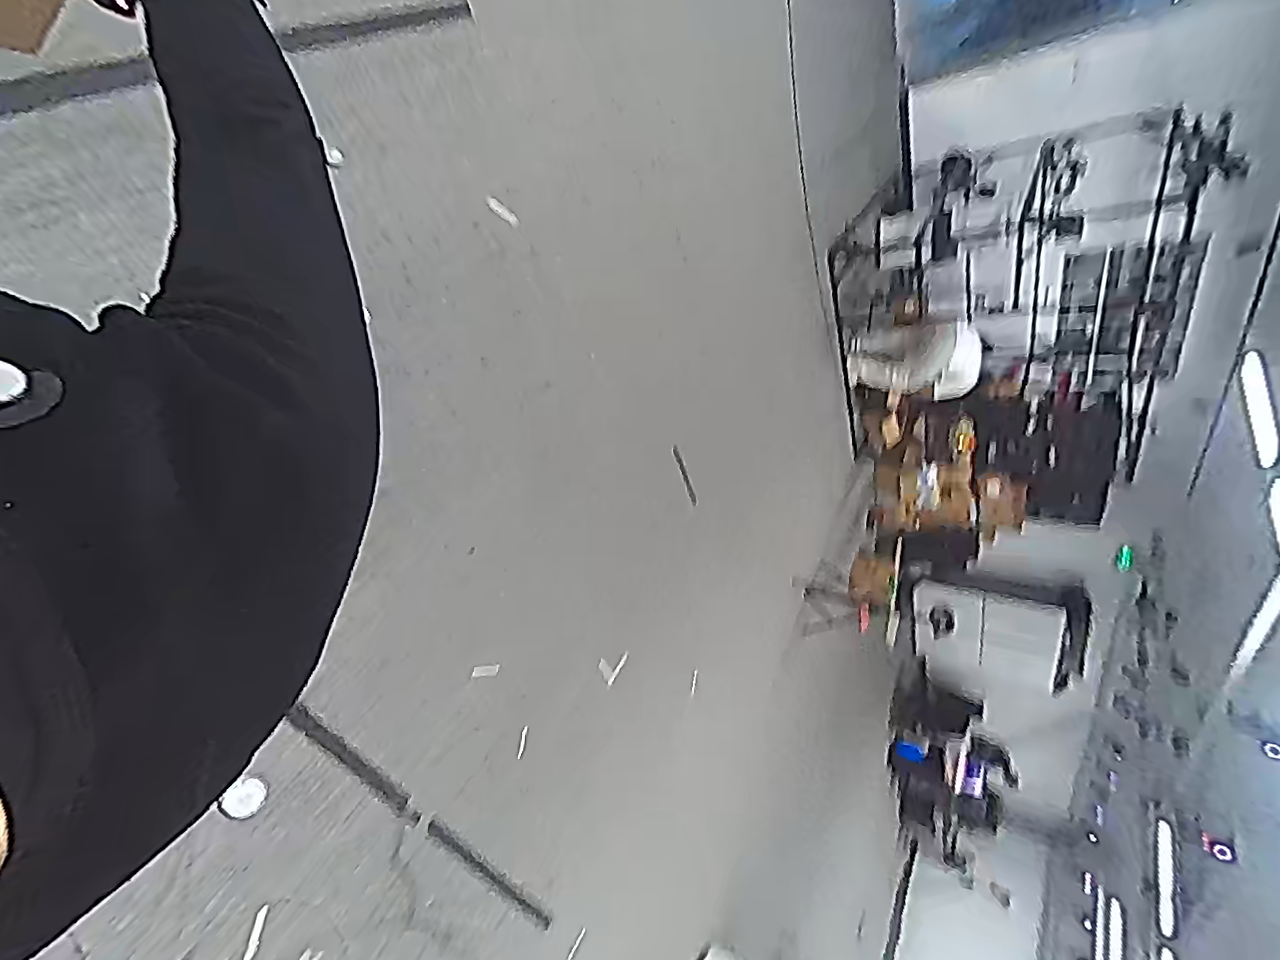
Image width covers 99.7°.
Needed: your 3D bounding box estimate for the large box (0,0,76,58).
[{"bbox_3d":[-0.601,-0.489,0.264,0.408,0.320,0.320,-20,118,-49],"label":"large box"}]
